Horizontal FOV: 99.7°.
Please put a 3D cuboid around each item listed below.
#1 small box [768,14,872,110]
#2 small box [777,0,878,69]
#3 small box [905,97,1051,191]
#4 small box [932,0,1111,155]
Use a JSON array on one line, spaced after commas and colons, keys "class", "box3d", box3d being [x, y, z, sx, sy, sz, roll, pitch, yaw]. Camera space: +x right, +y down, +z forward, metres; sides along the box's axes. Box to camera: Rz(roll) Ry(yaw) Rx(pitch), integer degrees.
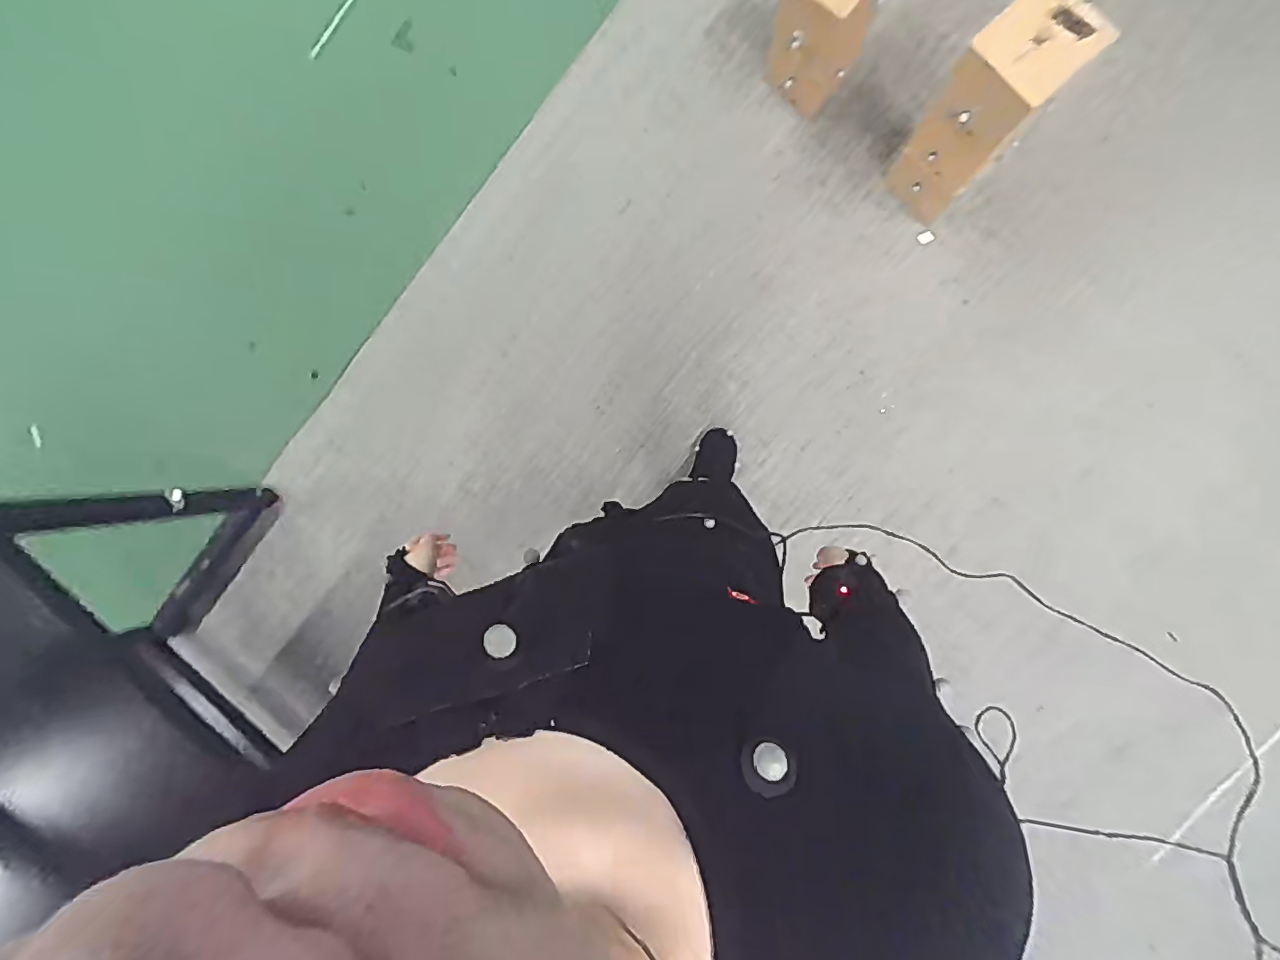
[{"class": "small box", "box3d": [0.437, -1.081, 1.347, 0.168, 0.176, 0.179, 44, 97, 3]}, {"class": "small box", "box3d": [0.420, -1.071, 1.185, 0.168, 0.176, 0.179, 41, 97, 4]}, {"class": "small box", "box3d": [0.715, -0.775, 1.166, 0.179, 0.176, 0.168, -42, 88, 7]}, {"class": "small box", "box3d": [0.691, -0.761, 1.004, 0.179, 0.176, 0.168, -41, 88, 8]}]
